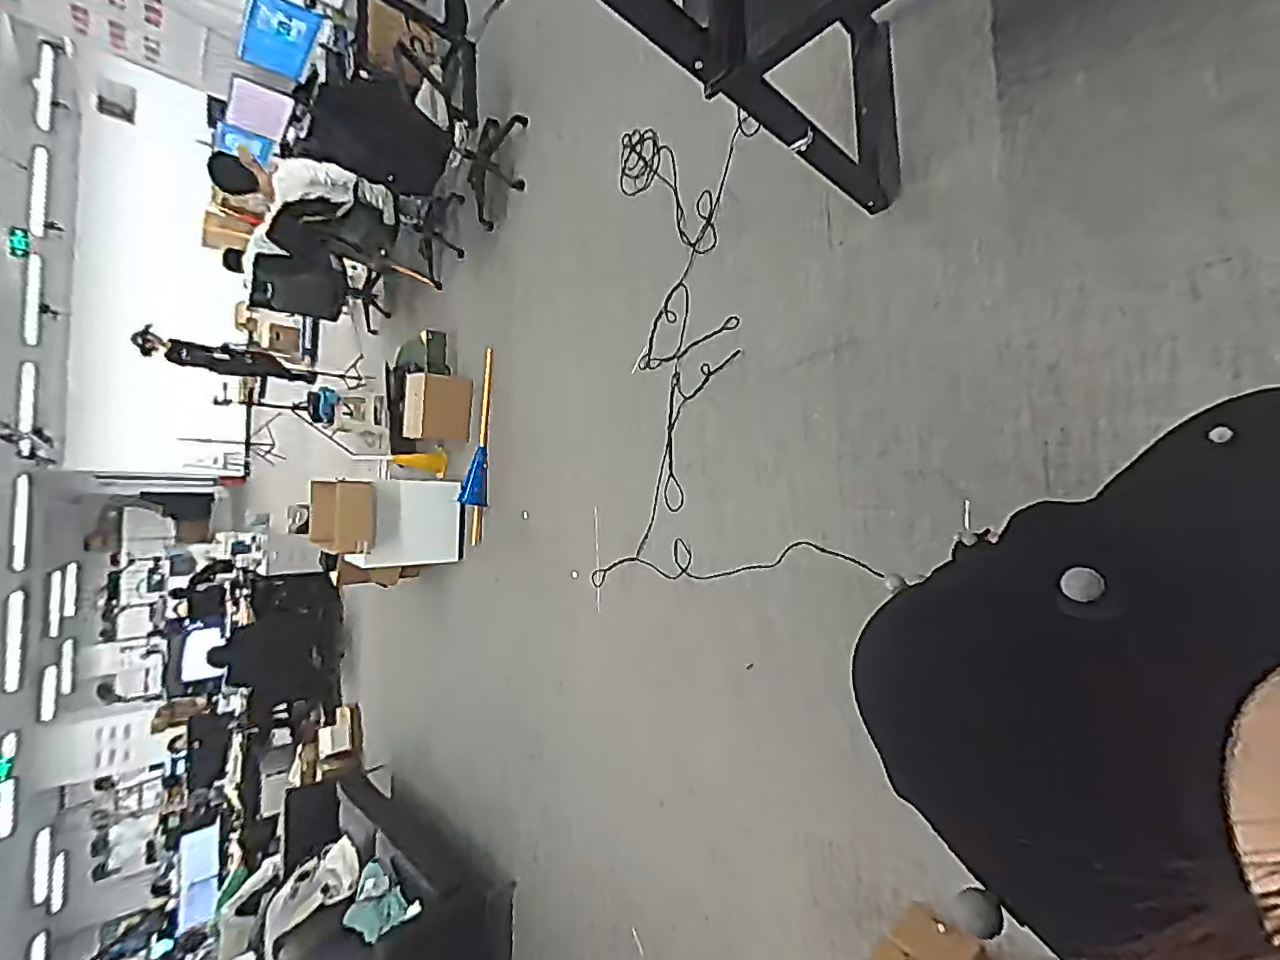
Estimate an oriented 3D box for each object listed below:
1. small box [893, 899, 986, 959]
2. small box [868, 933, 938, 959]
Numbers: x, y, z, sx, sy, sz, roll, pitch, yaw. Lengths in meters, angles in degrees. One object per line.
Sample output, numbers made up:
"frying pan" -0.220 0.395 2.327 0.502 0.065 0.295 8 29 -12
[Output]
"small box" 0.737 1.202 1.336 0.168 0.176 0.179 4 91 47
"small box" 0.615 1.202 1.225 0.168 0.176 0.179 1 90 47
